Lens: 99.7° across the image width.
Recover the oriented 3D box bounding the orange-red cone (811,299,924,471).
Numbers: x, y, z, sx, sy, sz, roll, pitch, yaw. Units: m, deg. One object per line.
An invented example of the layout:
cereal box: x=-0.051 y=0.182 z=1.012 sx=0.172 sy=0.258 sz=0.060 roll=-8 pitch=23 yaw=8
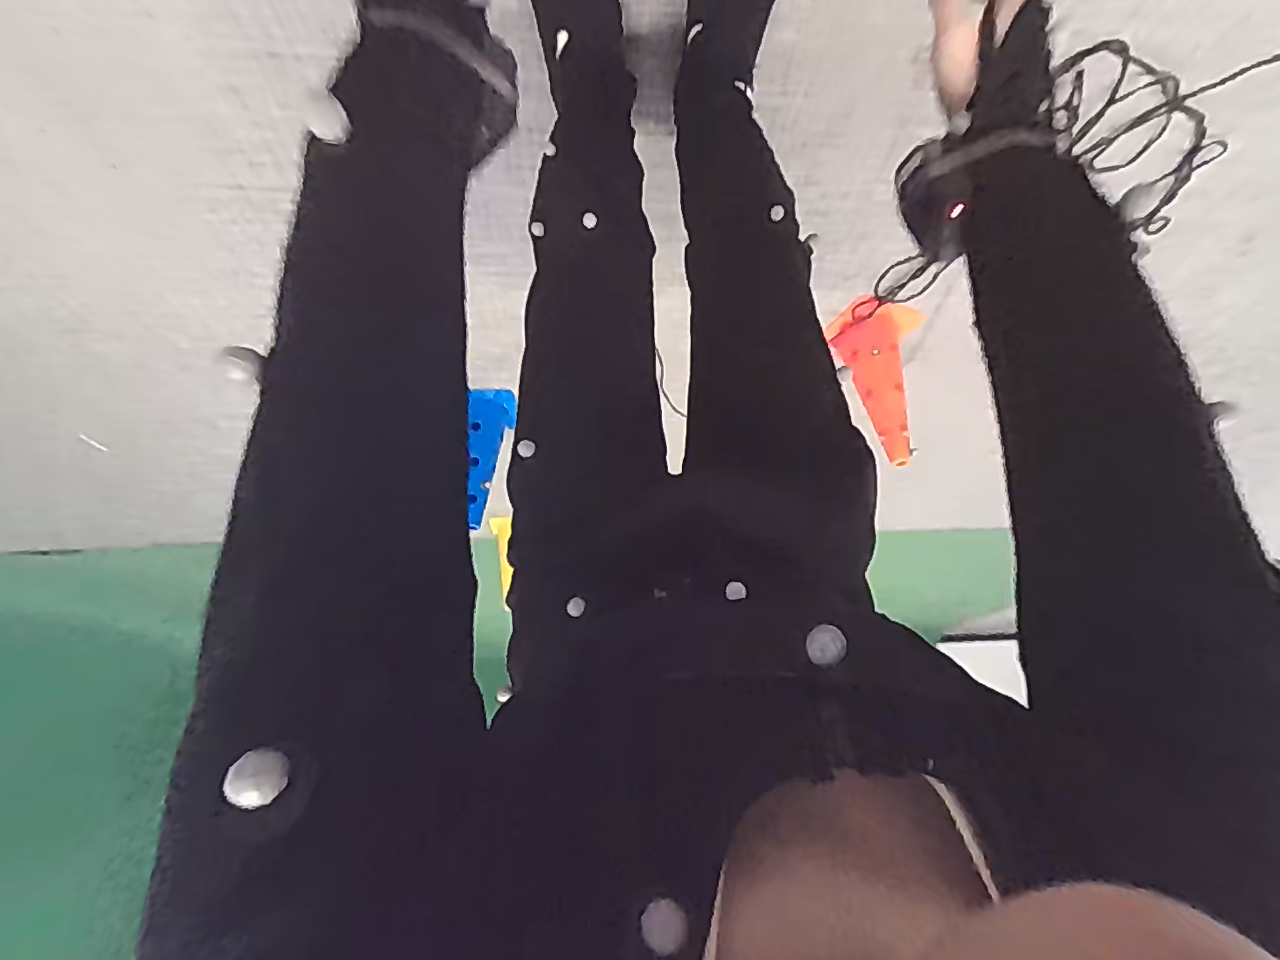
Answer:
orange-red cone: x=0.537 y=-0.186 z=1.192 sx=0.199 sy=0.360 sz=0.198 roll=8 pitch=153 yaw=-22

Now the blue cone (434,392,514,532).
blue cone: x=-0.452 y=-0.042 z=1.435 sx=0.192 sy=0.380 sz=0.193 roll=0 pitch=153 yaw=-4
